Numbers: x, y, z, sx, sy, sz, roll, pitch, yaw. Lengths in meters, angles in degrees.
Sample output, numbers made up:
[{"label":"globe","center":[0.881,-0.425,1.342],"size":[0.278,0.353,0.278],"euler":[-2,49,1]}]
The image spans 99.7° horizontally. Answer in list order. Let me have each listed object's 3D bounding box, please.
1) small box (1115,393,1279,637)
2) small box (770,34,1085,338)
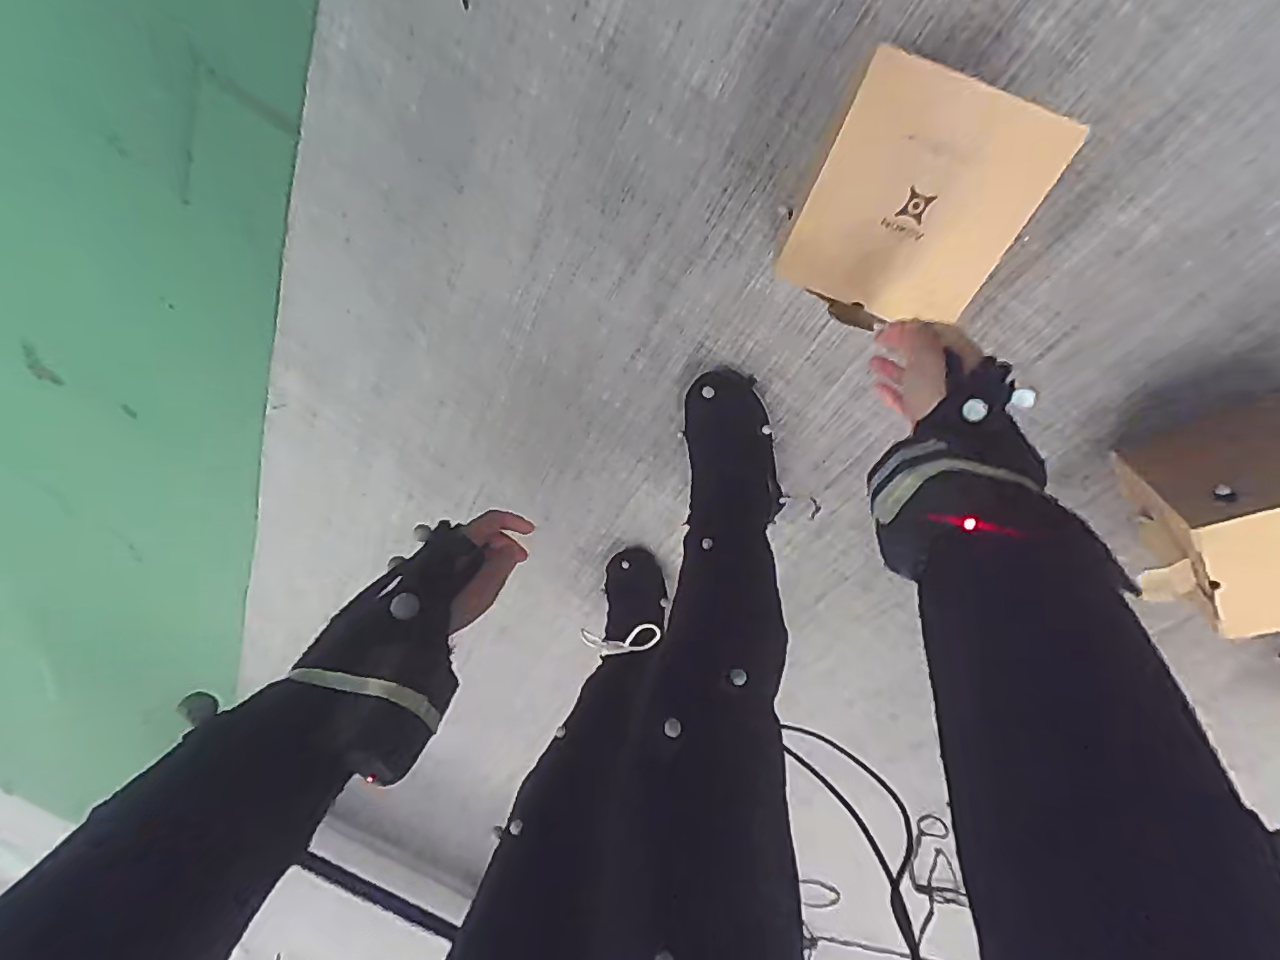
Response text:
[{"label":"small box","center":[0.657,0.029,0.566],"size":[0.179,0.176,0.168],"euler":[-25,113,28]},{"label":"small box","center":[0.234,-0.263,0.495],"size":[0.168,0.176,0.179],"euler":[22,125,0]}]
